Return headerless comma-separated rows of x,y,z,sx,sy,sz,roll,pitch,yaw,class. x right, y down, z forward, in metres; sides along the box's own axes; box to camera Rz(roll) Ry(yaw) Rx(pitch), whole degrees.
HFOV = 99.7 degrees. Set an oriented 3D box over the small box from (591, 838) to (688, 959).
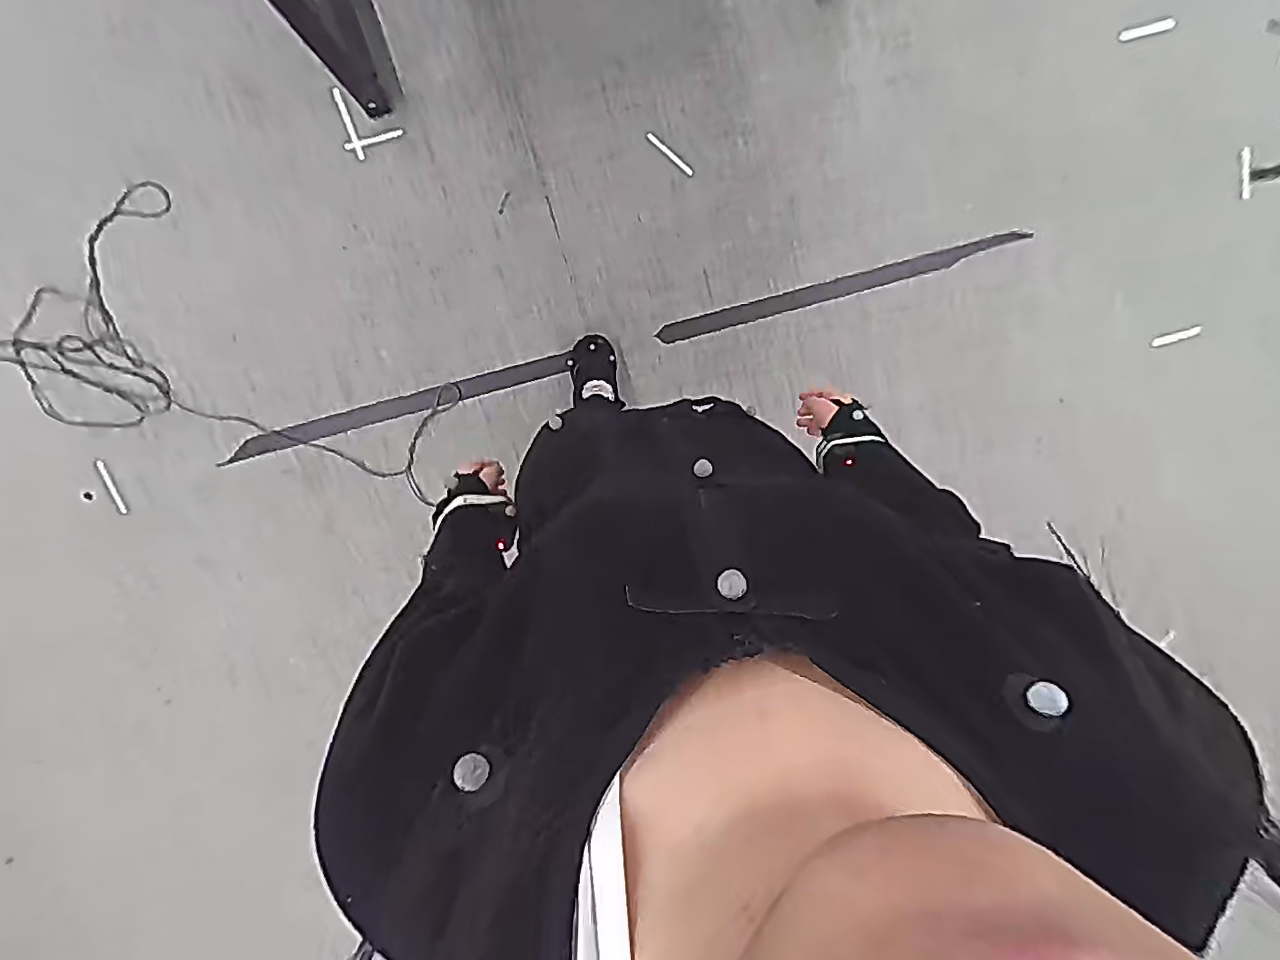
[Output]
-0.010,1.033,1.325,0.168,0.176,0.179,34,97,-12,small box
